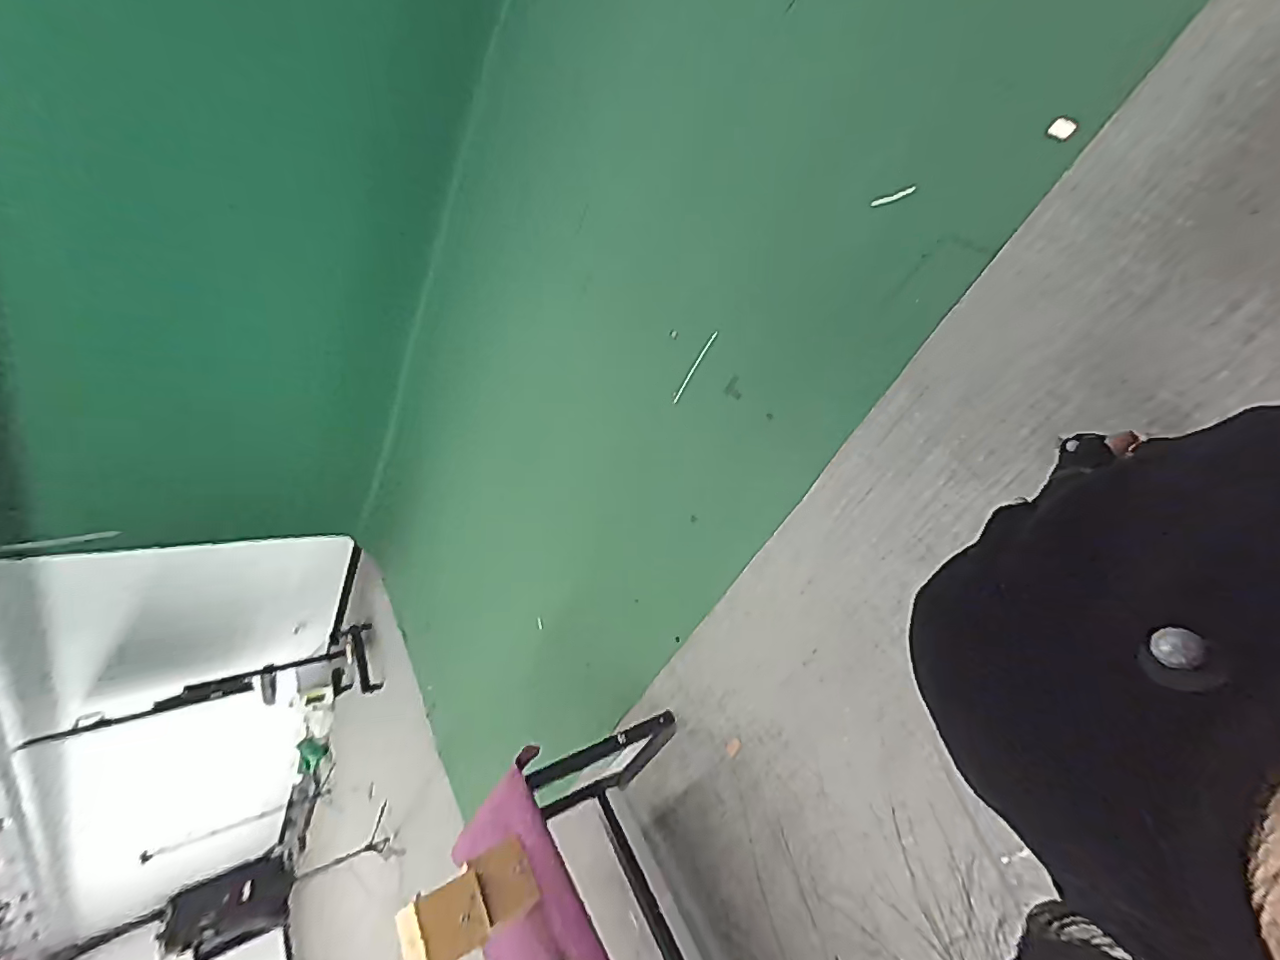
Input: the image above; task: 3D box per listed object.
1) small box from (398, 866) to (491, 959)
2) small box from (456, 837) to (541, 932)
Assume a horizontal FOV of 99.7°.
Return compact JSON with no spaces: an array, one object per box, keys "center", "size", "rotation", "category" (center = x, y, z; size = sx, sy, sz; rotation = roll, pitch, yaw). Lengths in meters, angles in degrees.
[{"center":[-0.517,1.165,1.429],"size":[0.179,0.176,0.168],"rotation":[-51,56,34],"category":"small box"},{"center":[-0.412,1.168,1.556],"size":[0.179,0.176,0.168],"rotation":[53,128,33],"category":"small box"}]
